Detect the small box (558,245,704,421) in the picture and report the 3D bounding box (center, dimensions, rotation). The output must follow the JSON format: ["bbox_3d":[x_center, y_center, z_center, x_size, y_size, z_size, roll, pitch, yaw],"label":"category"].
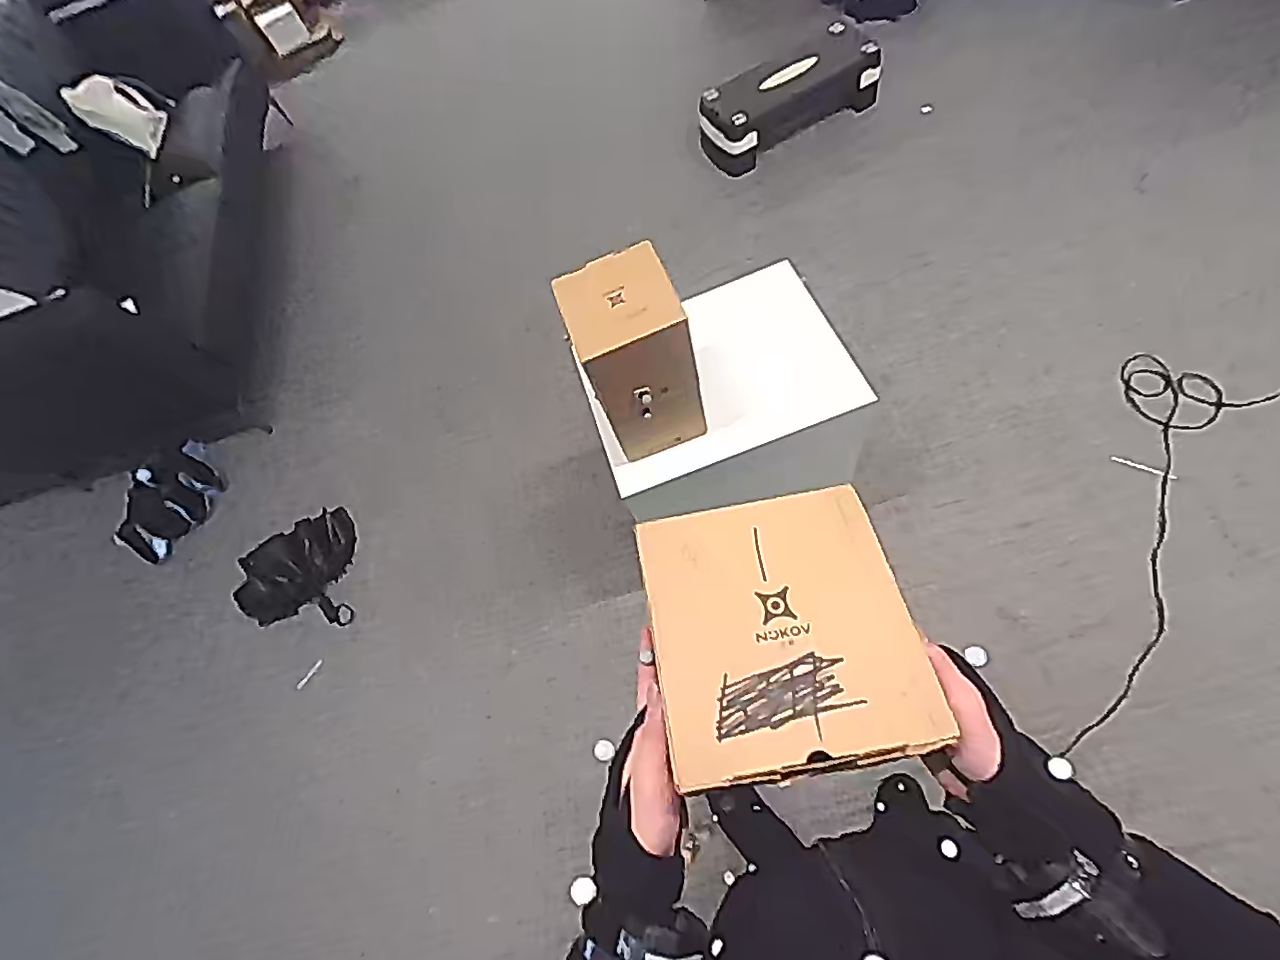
[{"bbox_3d":[-0.009,-0.225,0.861,0.168,0.176,0.179,-23,63,4],"label":"small box"}]

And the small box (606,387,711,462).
[{"bbox_3d":[0.022,-0.162,1.008,0.168,0.176,0.179,-21,61,3],"label":"small box"}]
